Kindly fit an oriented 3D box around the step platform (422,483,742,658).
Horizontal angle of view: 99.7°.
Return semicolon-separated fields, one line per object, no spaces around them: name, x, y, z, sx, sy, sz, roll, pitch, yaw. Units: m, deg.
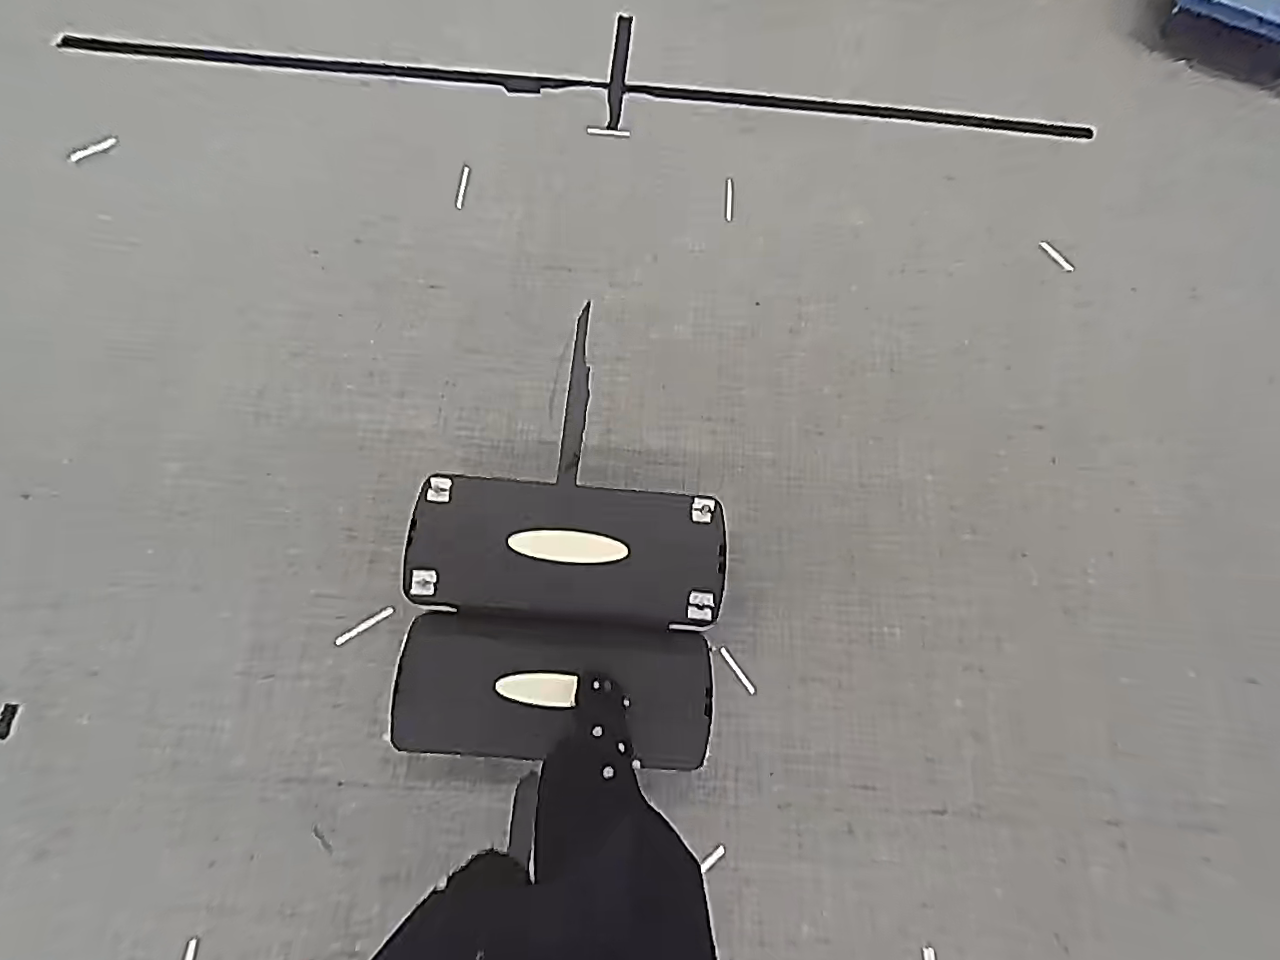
step platform;-0.118;0.204;1.210;0.684;0.204;0.286;9;71;-1
